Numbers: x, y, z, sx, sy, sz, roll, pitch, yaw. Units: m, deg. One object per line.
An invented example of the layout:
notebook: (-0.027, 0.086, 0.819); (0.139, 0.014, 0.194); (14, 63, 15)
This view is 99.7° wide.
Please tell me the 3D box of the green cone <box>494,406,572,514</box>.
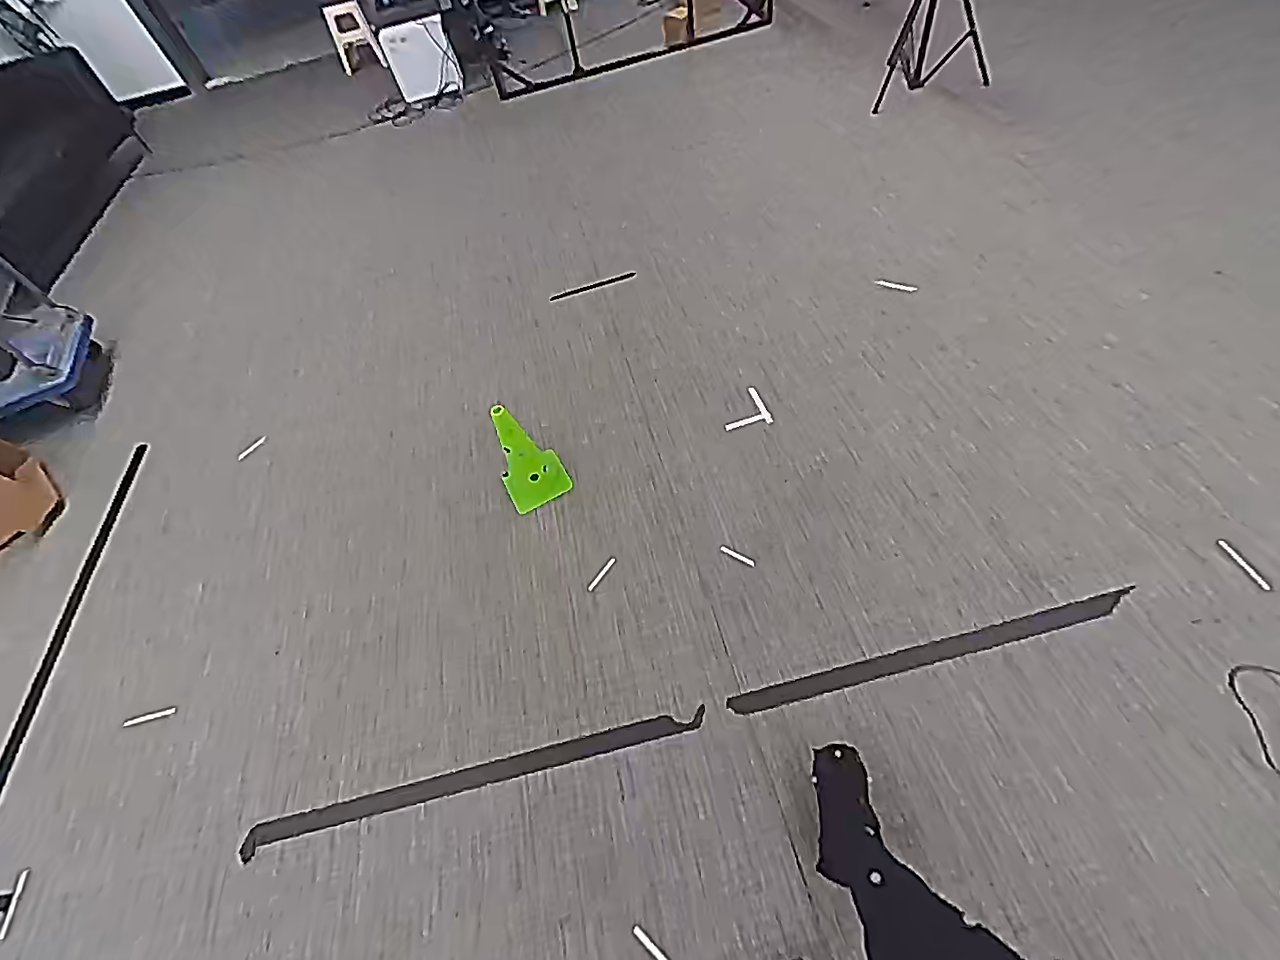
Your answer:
green cone: (-0.374, -0.090, 1.678); (0.202, 0.368, 0.200); (-28, 55, -10)
